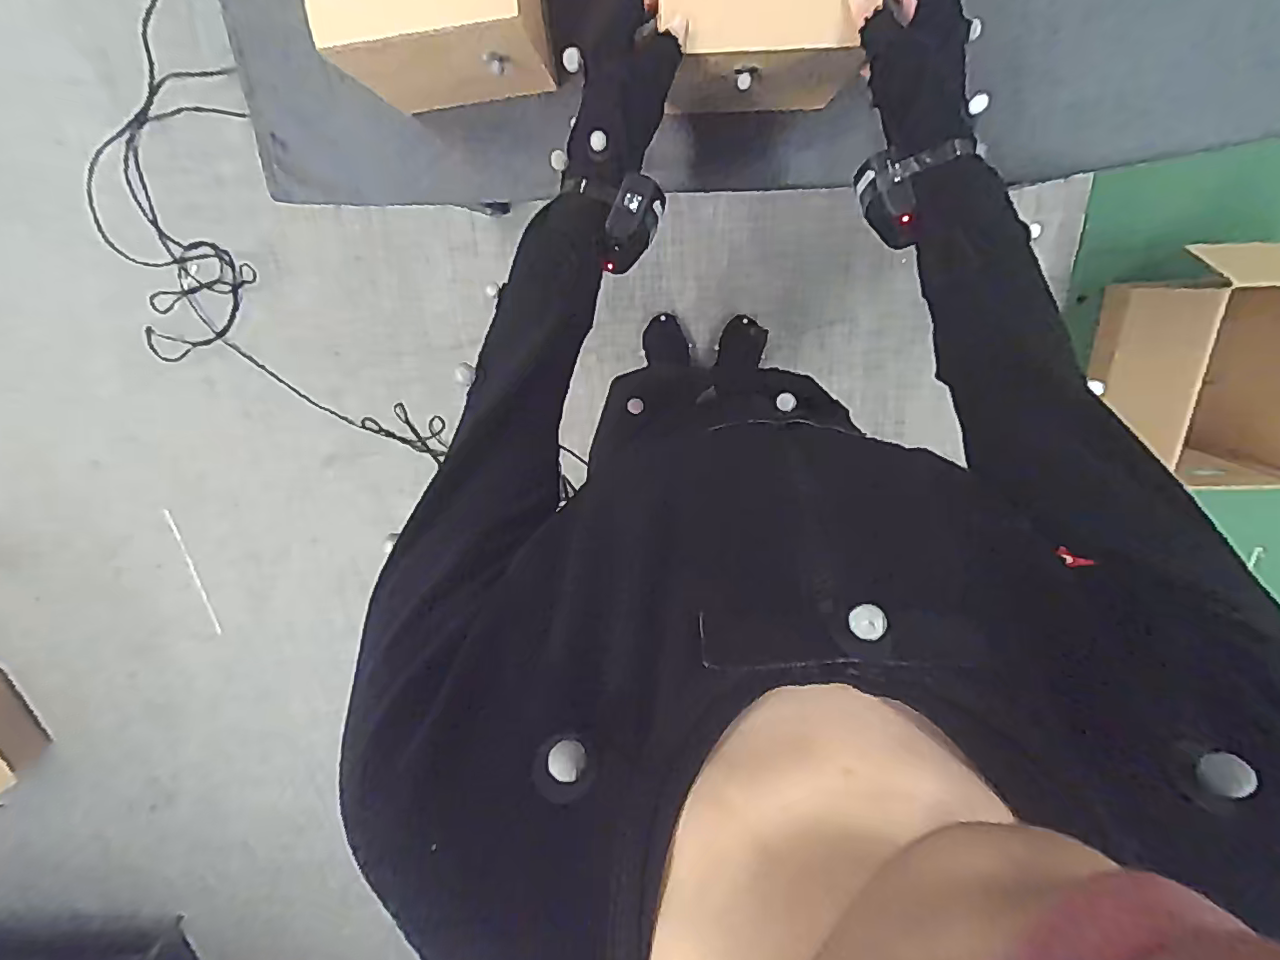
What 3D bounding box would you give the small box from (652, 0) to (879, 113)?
[{"bbox_3d":[0.102,-0.443,0.478,0.179,0.176,0.168,0,111,3],"label":"small box"}]
